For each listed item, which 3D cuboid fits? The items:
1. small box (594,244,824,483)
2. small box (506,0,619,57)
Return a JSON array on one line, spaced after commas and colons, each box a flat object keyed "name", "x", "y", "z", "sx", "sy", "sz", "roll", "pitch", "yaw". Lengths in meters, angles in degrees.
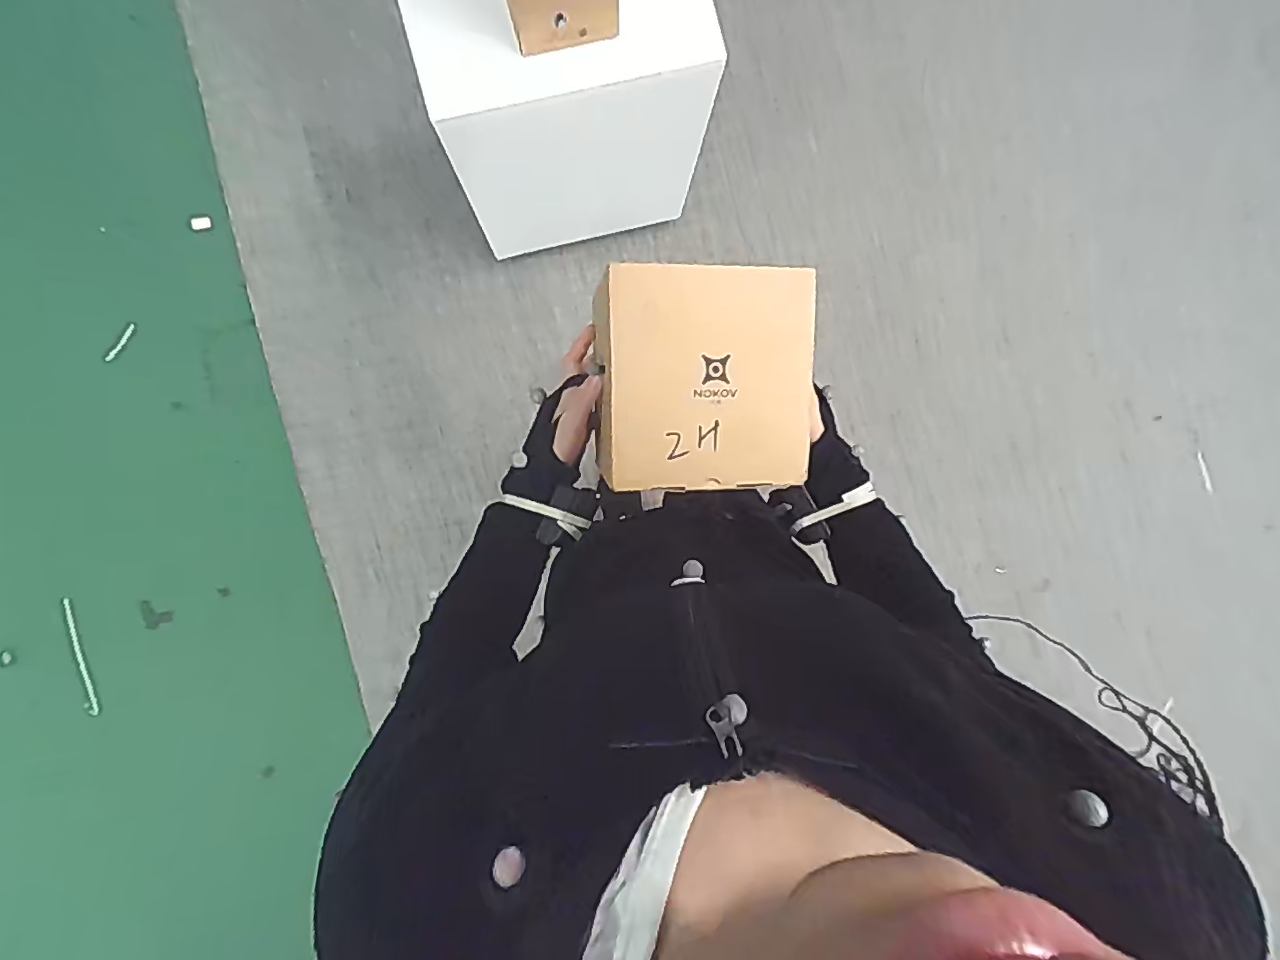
[{"name": "small box", "x": 0.046, "y": -0.094, "z": 0.486, "sx": 0.168, "sy": 0.176, "sz": 0.179, "roll": -1, "pitch": 98, "yaw": -8}, {"name": "small box", "x": -0.130, "y": -0.788, "z": 0.803, "sx": 0.168, "sy": 0.176, "sz": 0.179, "roll": -15, "pitch": 90, "yaw": -4}]
